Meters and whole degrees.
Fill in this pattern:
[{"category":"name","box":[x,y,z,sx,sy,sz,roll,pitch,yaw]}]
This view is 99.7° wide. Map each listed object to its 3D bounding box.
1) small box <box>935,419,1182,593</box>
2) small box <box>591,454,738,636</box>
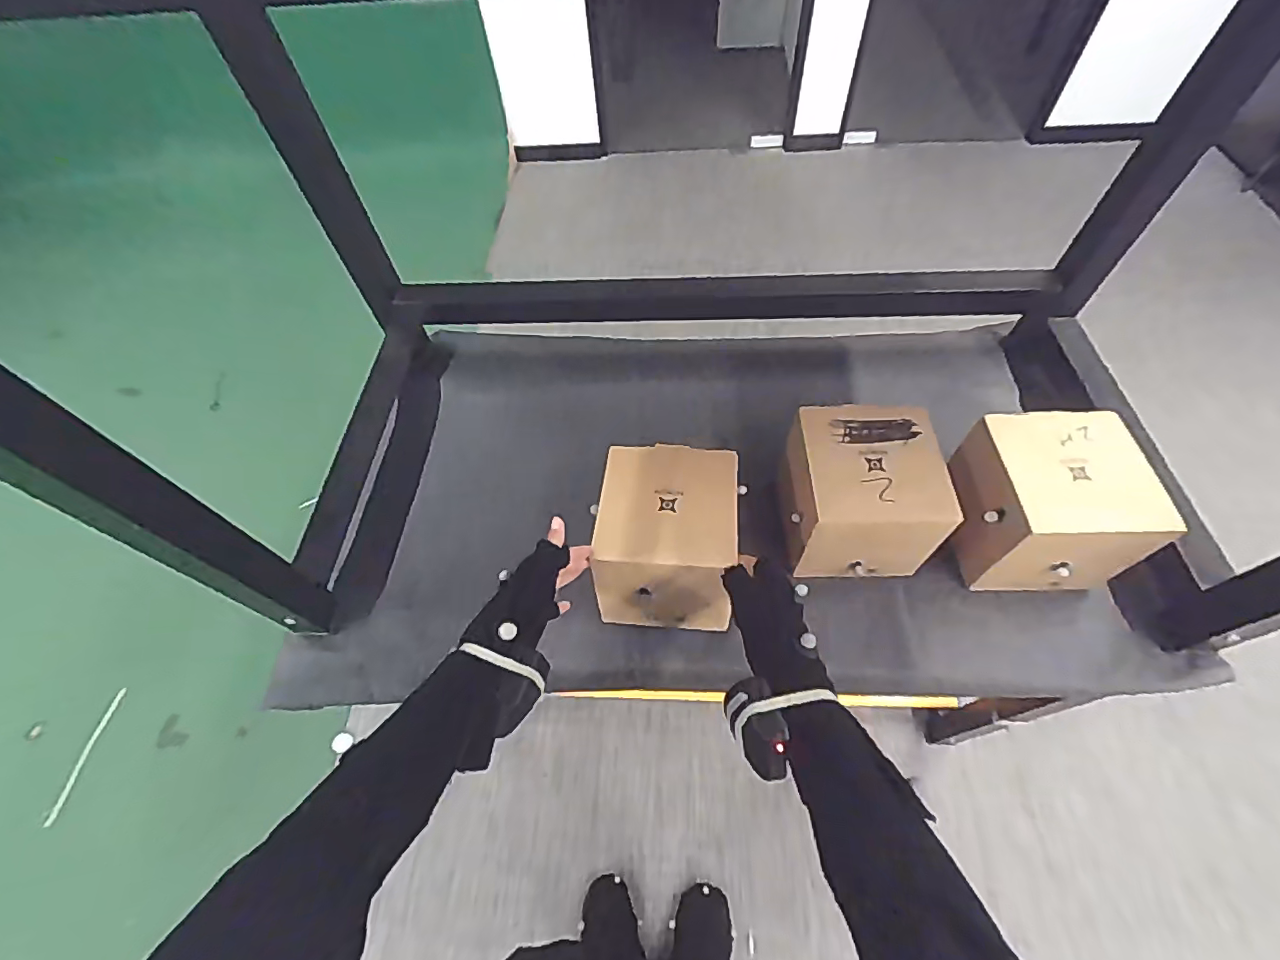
[{"category":"small box","box":[0.523,0.040,0.711,0.168,0.176,0.179,-1,56,3]},{"category":"small box","box":[0.039,0.087,0.706,0.168,0.176,0.179,3,50,6]}]
